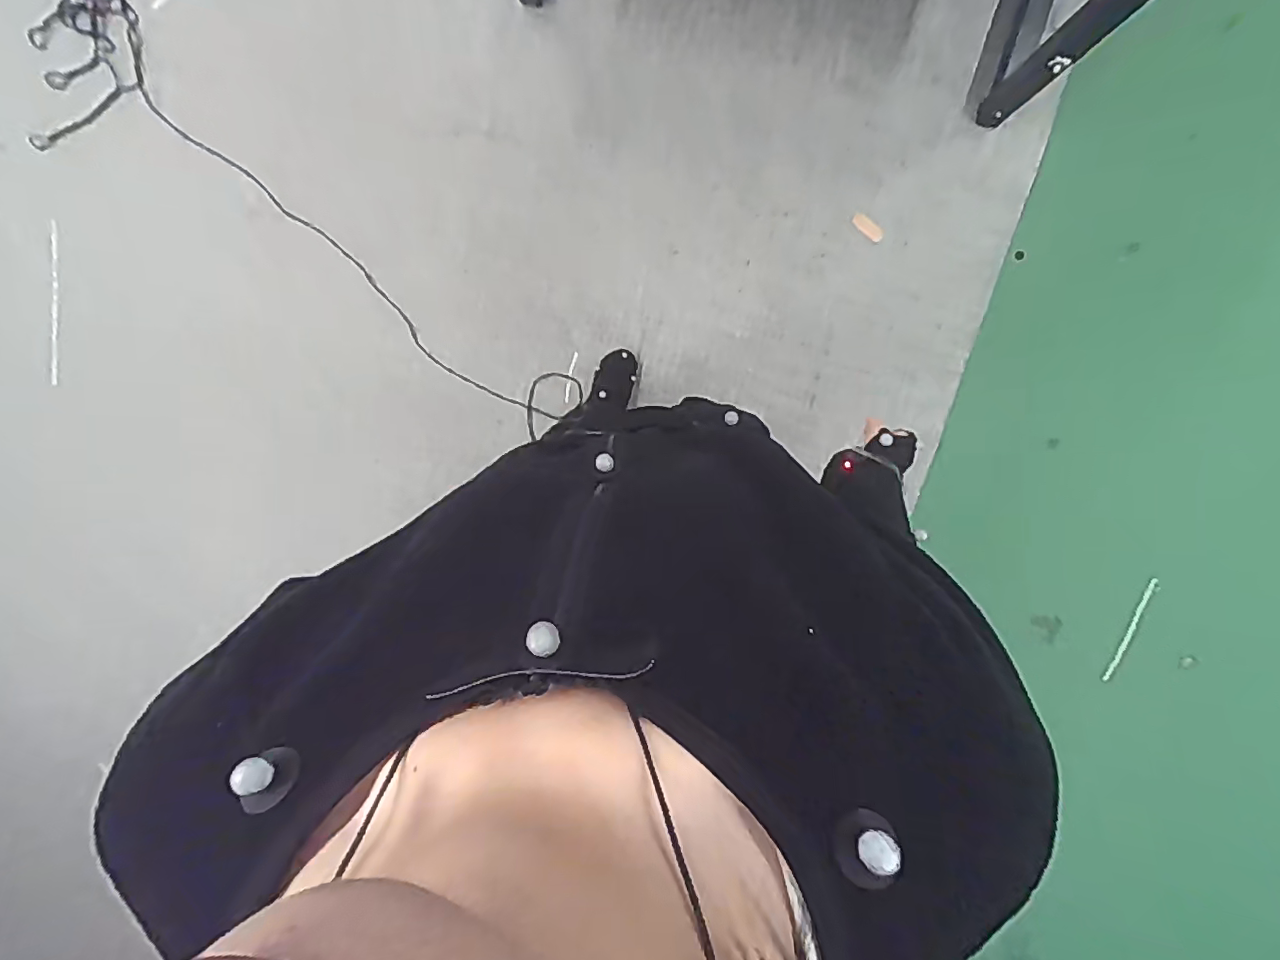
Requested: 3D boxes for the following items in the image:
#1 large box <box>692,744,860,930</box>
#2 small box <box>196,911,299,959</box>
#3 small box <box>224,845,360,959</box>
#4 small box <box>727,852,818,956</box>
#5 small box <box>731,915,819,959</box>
[{"bbox_3d":[0.353,0.975,1.512,0.408,0.320,0.320,0,102,4],"label":"large box"},{"bbox_3d":[-0.796,0.989,1.034,0.179,0.176,0.168,-44,92,11],"label":"small box"},{"bbox_3d":[-0.769,0.968,1.196,0.168,0.176,0.179,-44,93,11],"label":"small box"},{"bbox_3d":[0.304,1.020,1.274,0.179,0.176,0.168,4,99,5],"label":"small box"},{"bbox_3d":[0.279,1.053,1.116,0.168,0.176,0.179,6,100,4],"label":"small box"}]
